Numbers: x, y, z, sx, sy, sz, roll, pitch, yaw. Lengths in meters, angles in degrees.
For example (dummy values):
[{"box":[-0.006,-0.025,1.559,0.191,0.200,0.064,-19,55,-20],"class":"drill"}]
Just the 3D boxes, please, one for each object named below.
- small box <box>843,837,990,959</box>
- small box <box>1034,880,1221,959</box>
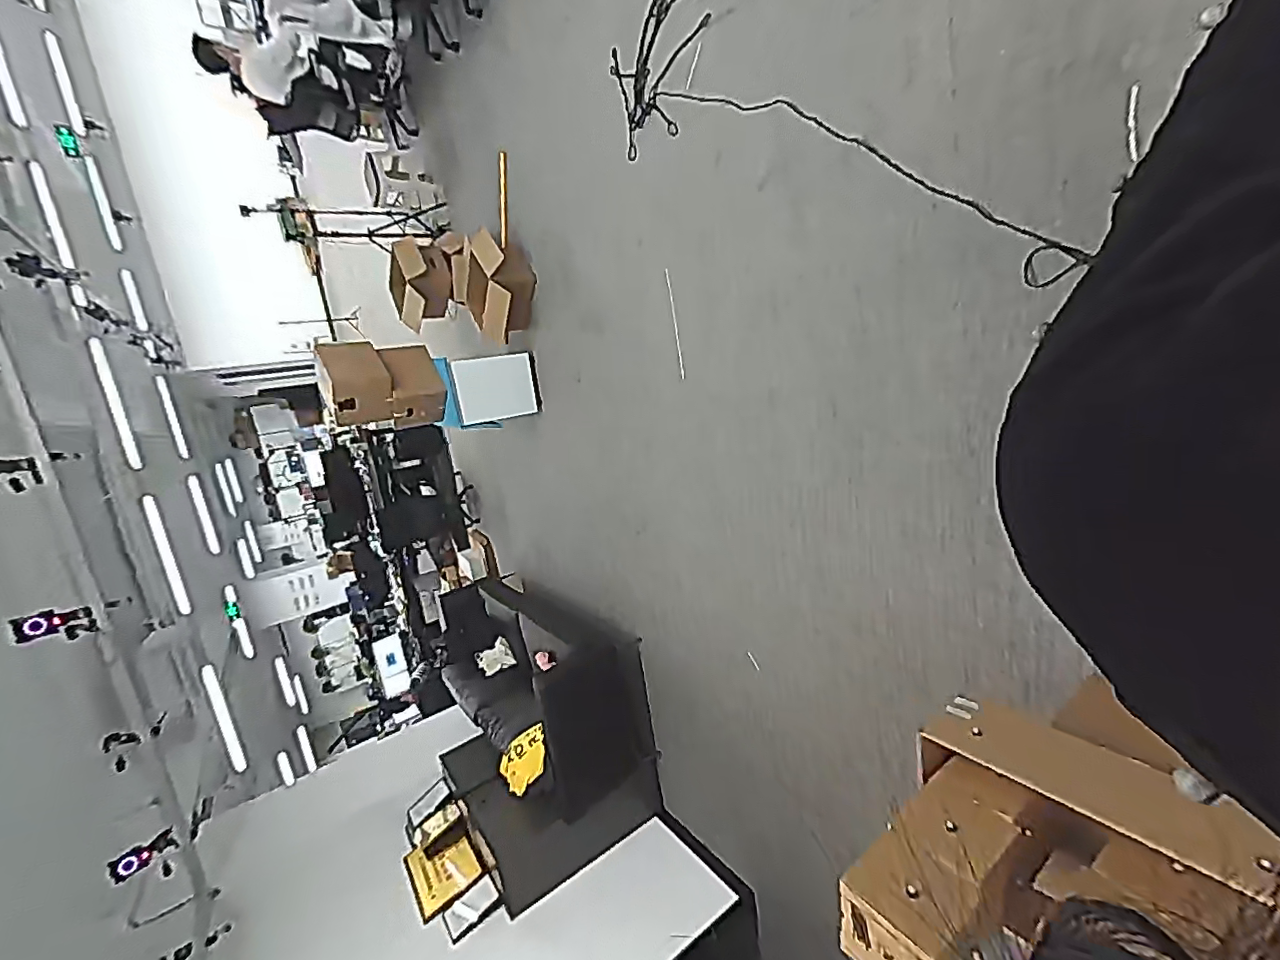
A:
[{"box":[0.489,0.788,0.967,0.179,0.176,0.168,14,115,53],"class":"small box"},{"box":[0.761,0.785,0.855,0.179,0.176,0.168,22,123,55],"class":"small box"}]
